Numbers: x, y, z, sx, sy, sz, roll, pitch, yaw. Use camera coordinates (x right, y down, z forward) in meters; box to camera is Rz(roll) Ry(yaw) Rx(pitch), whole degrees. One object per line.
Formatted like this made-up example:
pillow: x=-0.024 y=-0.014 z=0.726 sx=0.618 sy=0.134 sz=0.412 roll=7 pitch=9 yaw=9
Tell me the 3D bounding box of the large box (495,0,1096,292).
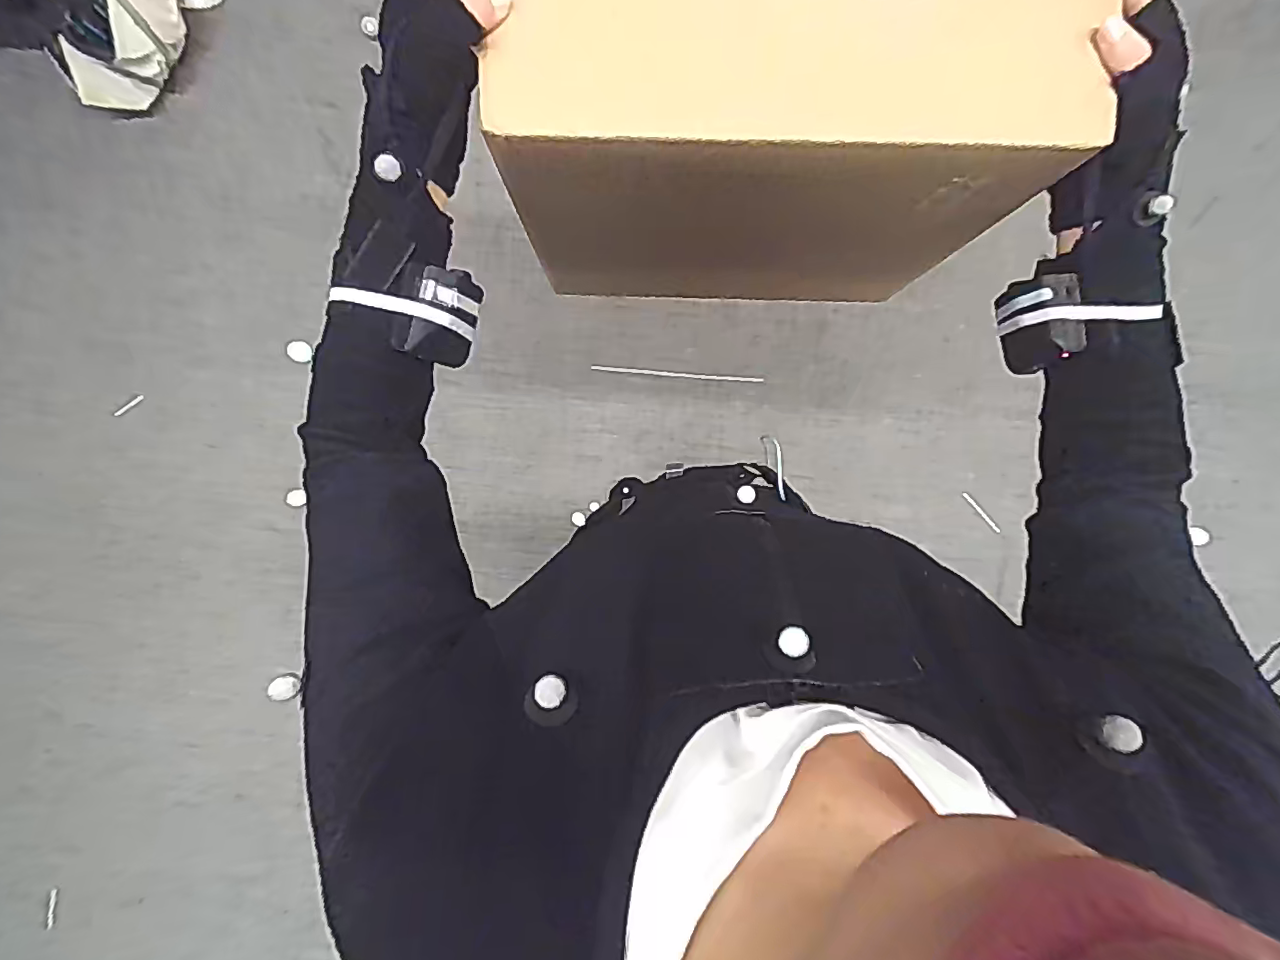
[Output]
large box: x=0.098 y=-0.379 z=0.503 sx=0.408 sy=0.320 sz=0.320 roll=0 pitch=91 yaw=-2
